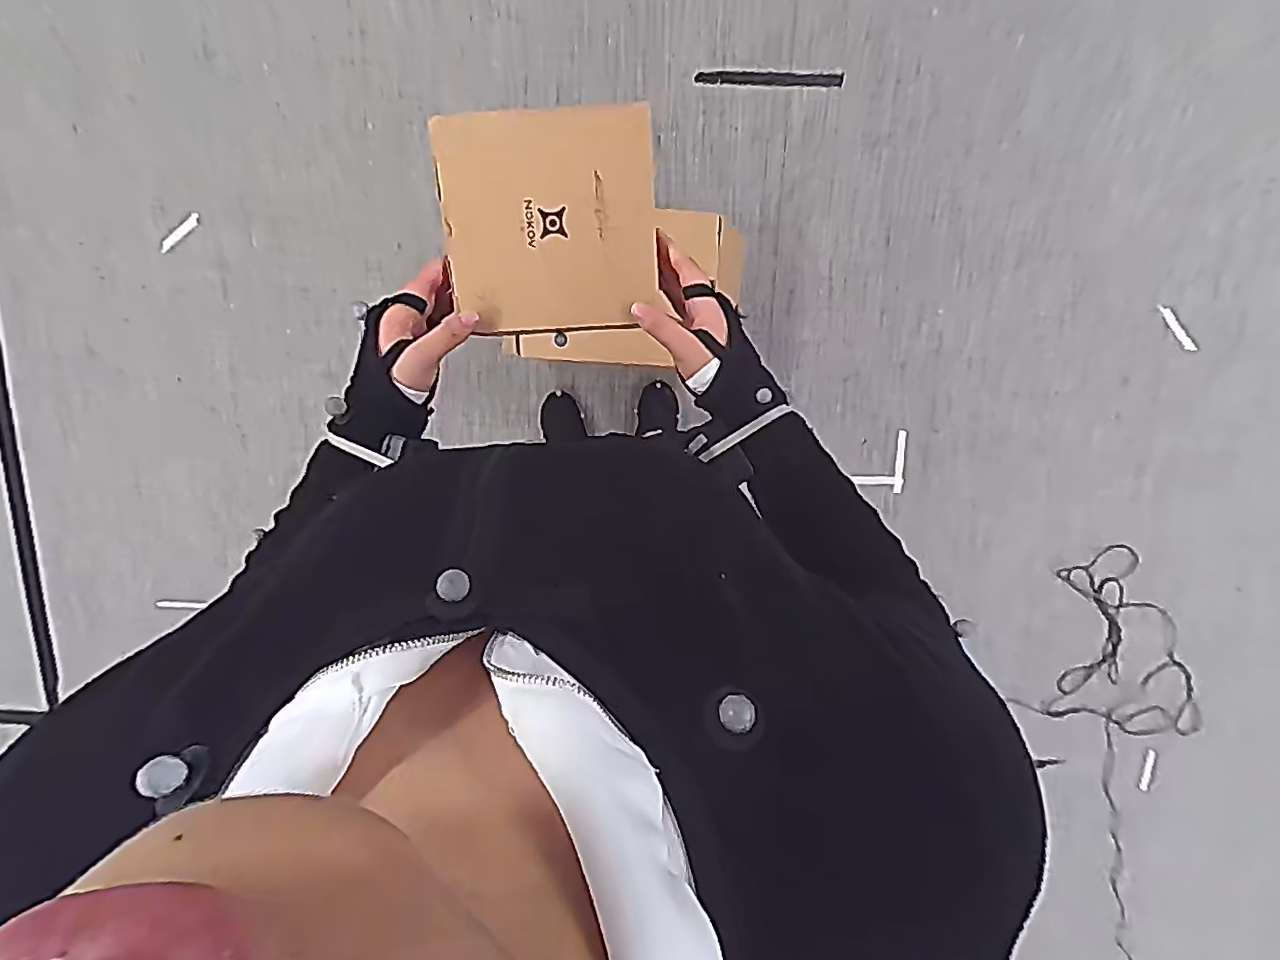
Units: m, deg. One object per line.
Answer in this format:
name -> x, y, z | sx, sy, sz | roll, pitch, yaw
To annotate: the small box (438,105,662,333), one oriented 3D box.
small box -> -0.070, -0.233, 0.527 | 0.179, 0.176, 0.168 | -4, 105, 1
